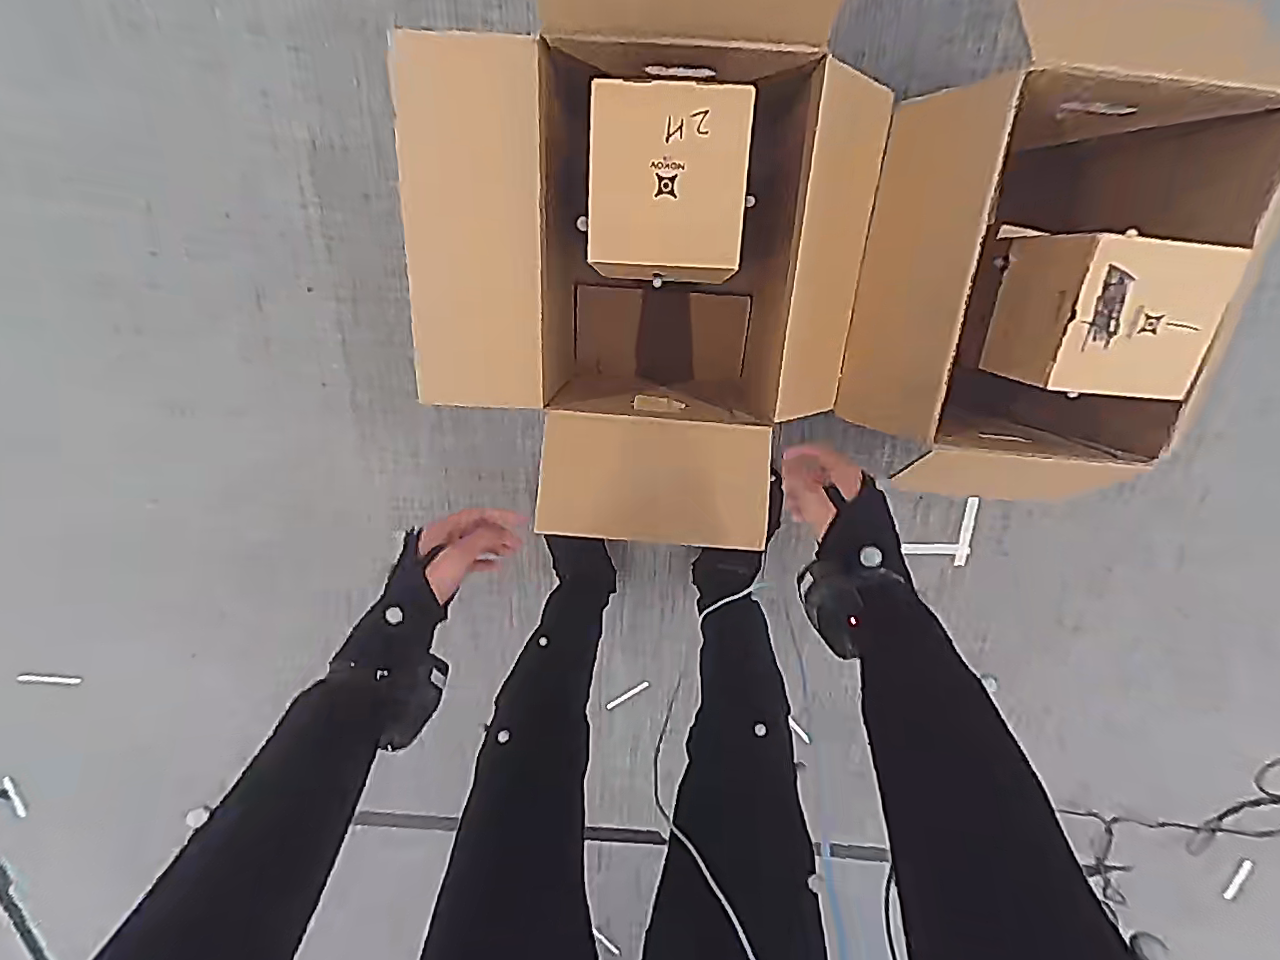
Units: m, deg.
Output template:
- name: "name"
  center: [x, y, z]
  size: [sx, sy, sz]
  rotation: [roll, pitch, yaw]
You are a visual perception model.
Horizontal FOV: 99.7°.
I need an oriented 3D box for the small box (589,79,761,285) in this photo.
- name: "small box"
  center: [0.036, -0.327, 0.630]
  size: [0.168, 0.176, 0.179]
  rotation: [4, 105, 1]
